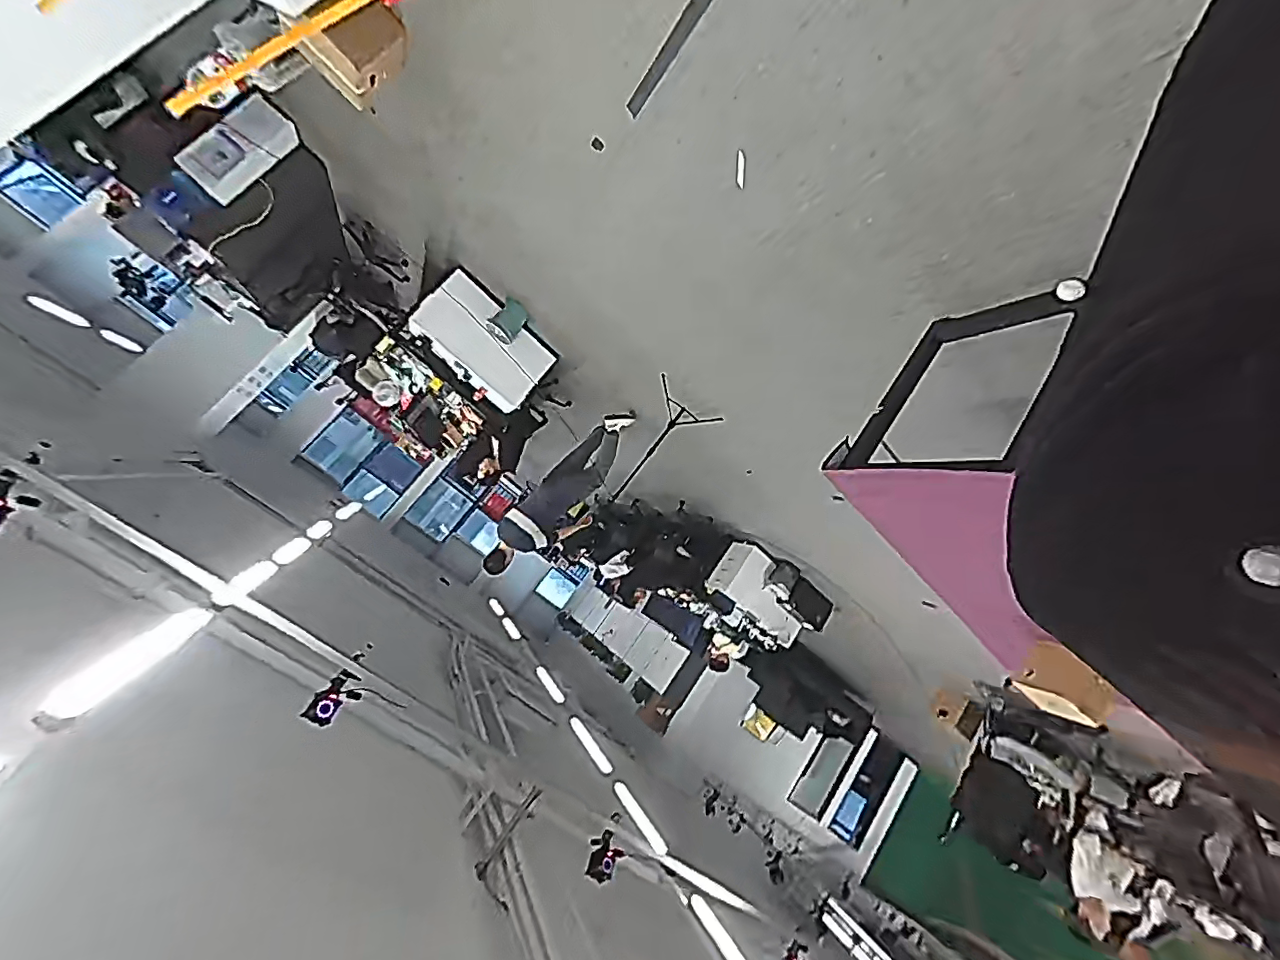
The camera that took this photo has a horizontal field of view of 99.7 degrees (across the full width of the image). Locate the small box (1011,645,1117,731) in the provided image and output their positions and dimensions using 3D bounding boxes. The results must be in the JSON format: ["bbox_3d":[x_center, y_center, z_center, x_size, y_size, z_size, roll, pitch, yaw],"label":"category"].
[{"bbox_3d":[1.327,0.640,1.692,0.168,0.176,0.179,39,165,-9],"label":"small box"}]
